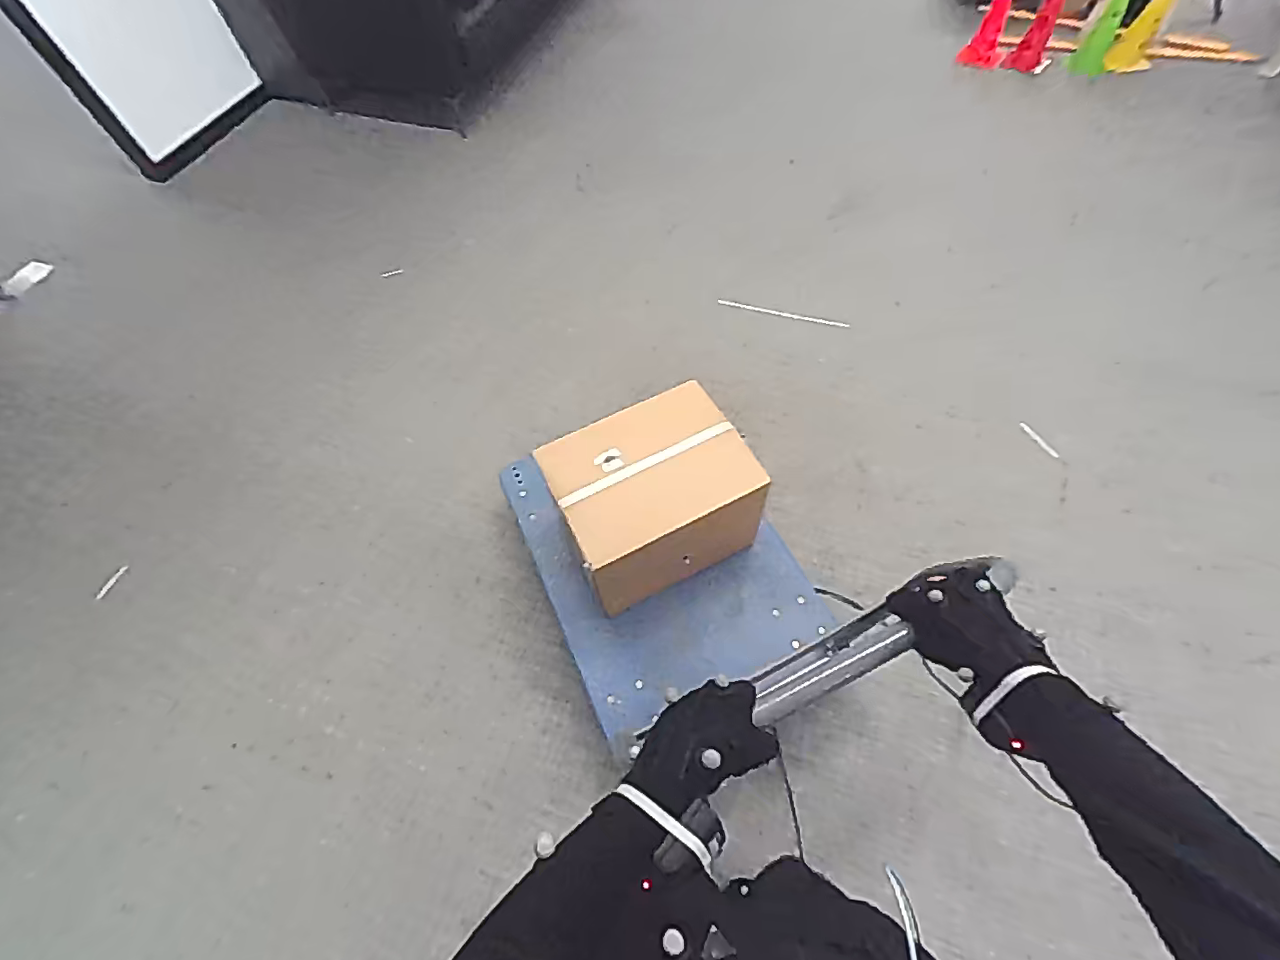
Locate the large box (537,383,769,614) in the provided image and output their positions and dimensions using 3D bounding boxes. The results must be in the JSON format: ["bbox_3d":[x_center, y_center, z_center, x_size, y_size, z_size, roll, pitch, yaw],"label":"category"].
[{"bbox_3d":[0.031,0.051,1.257,0.408,0.320,0.320,-27,61,-10],"label":"large box"}]
